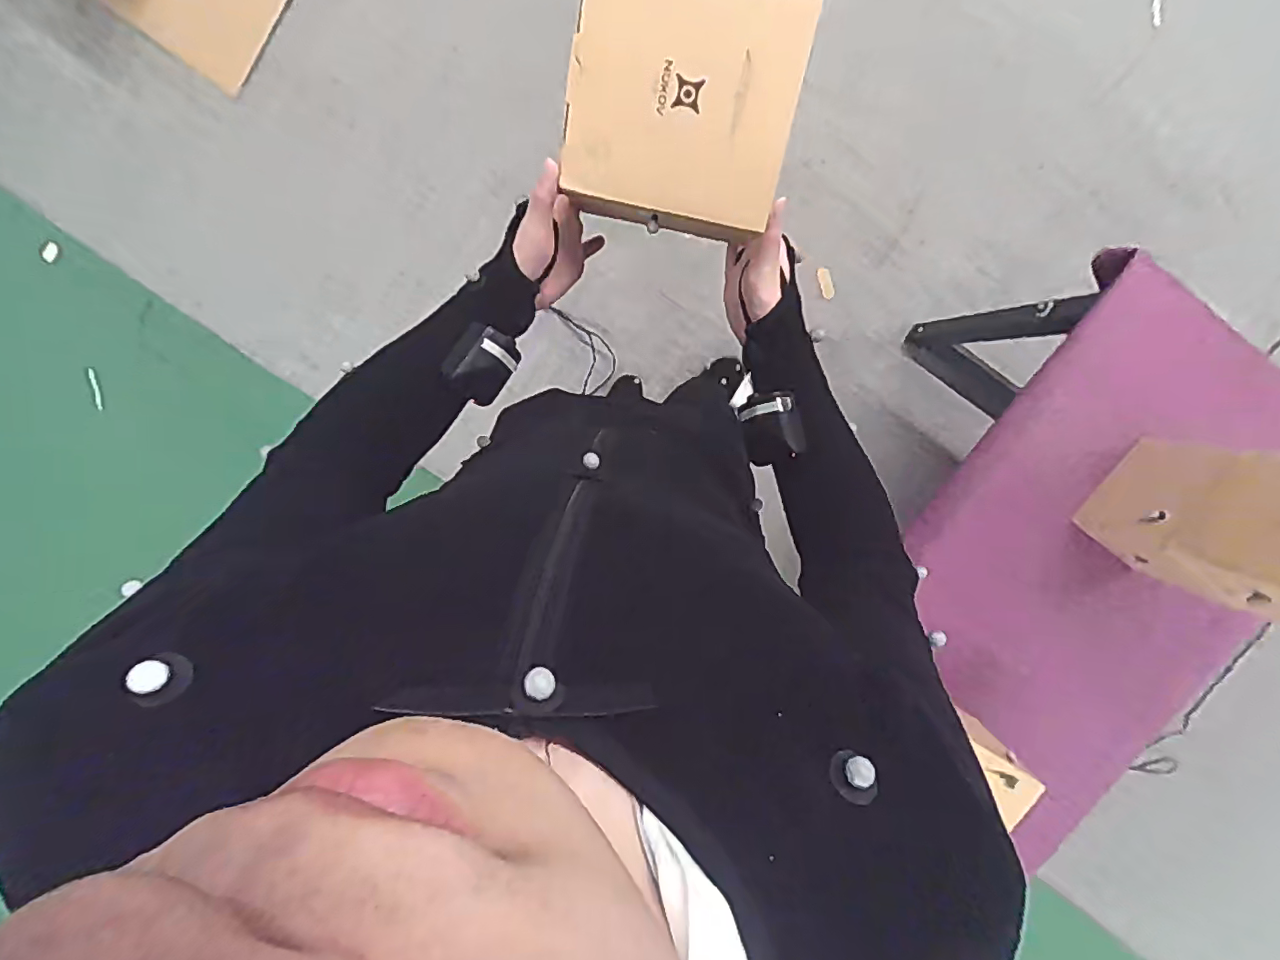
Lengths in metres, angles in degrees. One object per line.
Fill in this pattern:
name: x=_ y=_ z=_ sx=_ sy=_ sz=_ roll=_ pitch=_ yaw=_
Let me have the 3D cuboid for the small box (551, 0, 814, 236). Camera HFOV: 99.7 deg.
small box: x=0.031 y=-0.326 z=0.490 sx=0.179 sy=0.176 sz=0.168 roll=11 pitch=111 yaw=-2

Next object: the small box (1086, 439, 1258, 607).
small box: x=0.861 y=0.057 z=0.847 sx=0.168 sy=0.176 sz=0.179 roll=35 pitch=99 yaw=-8

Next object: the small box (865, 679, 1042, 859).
small box: x=0.518 y=0.486 z=0.929 sx=0.168 sy=0.176 sz=0.179 roll=33 pitch=99 yaw=-8

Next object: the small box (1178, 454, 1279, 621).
small box: x=0.860 y=0.088 z=0.688 sx=0.168 sy=0.176 sz=0.179 roll=35 pitch=99 yaw=-7
